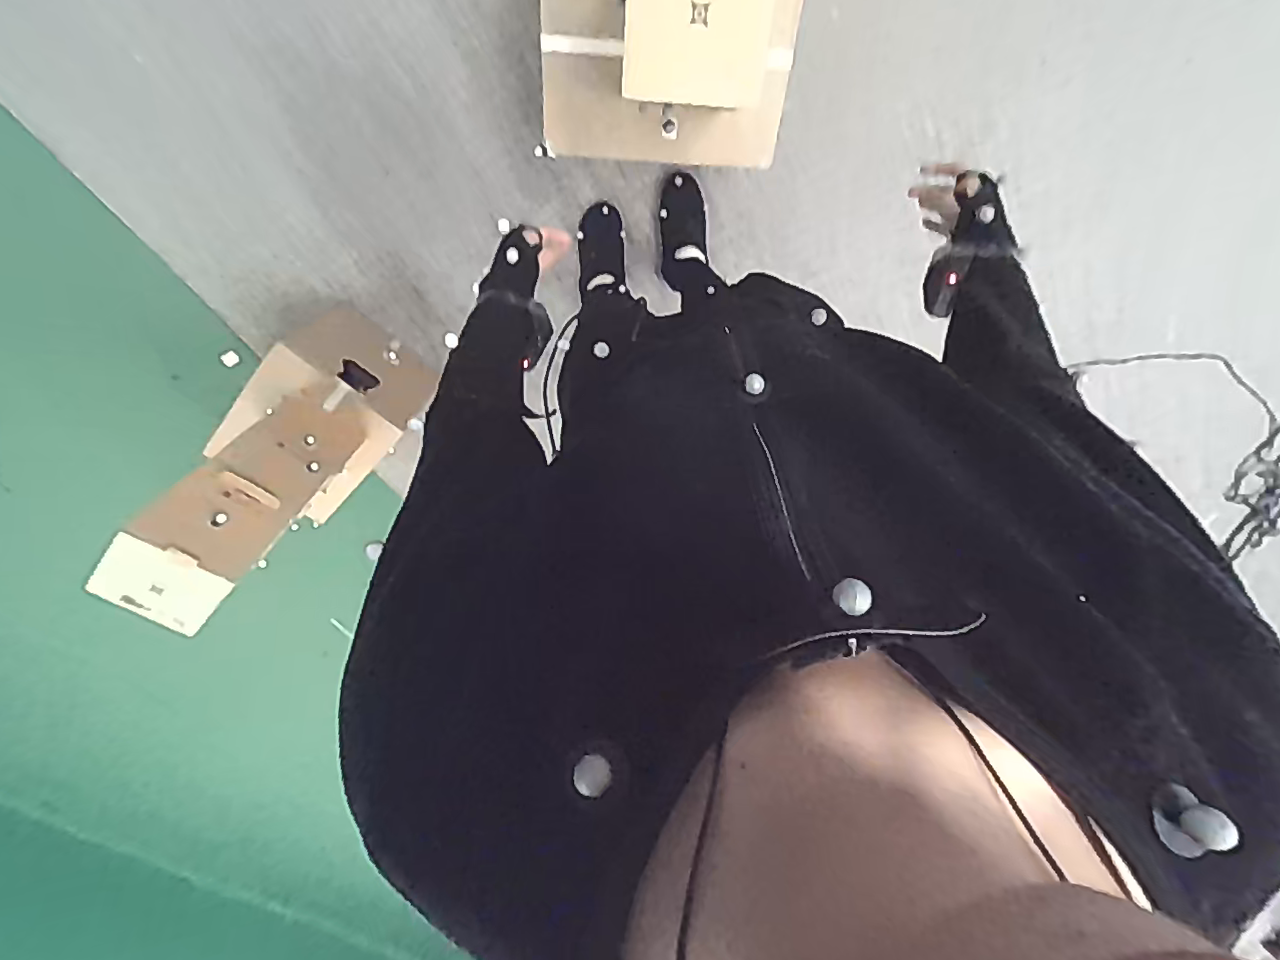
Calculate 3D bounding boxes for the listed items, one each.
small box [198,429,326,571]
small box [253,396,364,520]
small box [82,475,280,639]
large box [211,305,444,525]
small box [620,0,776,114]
[{"bbox_3d":[-0.745,0.033,1.042,0.179,0.176,0.168,-40,115,23],"label":"small box"},{"bbox_3d":[-0.745,-0.052,1.182,0.168,0.176,0.179,-39,115,22],"label":"small box"},{"bbox_3d":[-0.749,0.124,0.905,0.179,0.176,0.168,-40,115,21],"label":"small box"},{"bbox_3d":[-0.784,-0.169,1.397,0.408,0.320,0.320,-39,114,24],"label":"large box"},{"bbox_3d":[0.066,-0.555,0.653,0.168,0.176,0.179,3,121,-2],"label":"small box"}]
